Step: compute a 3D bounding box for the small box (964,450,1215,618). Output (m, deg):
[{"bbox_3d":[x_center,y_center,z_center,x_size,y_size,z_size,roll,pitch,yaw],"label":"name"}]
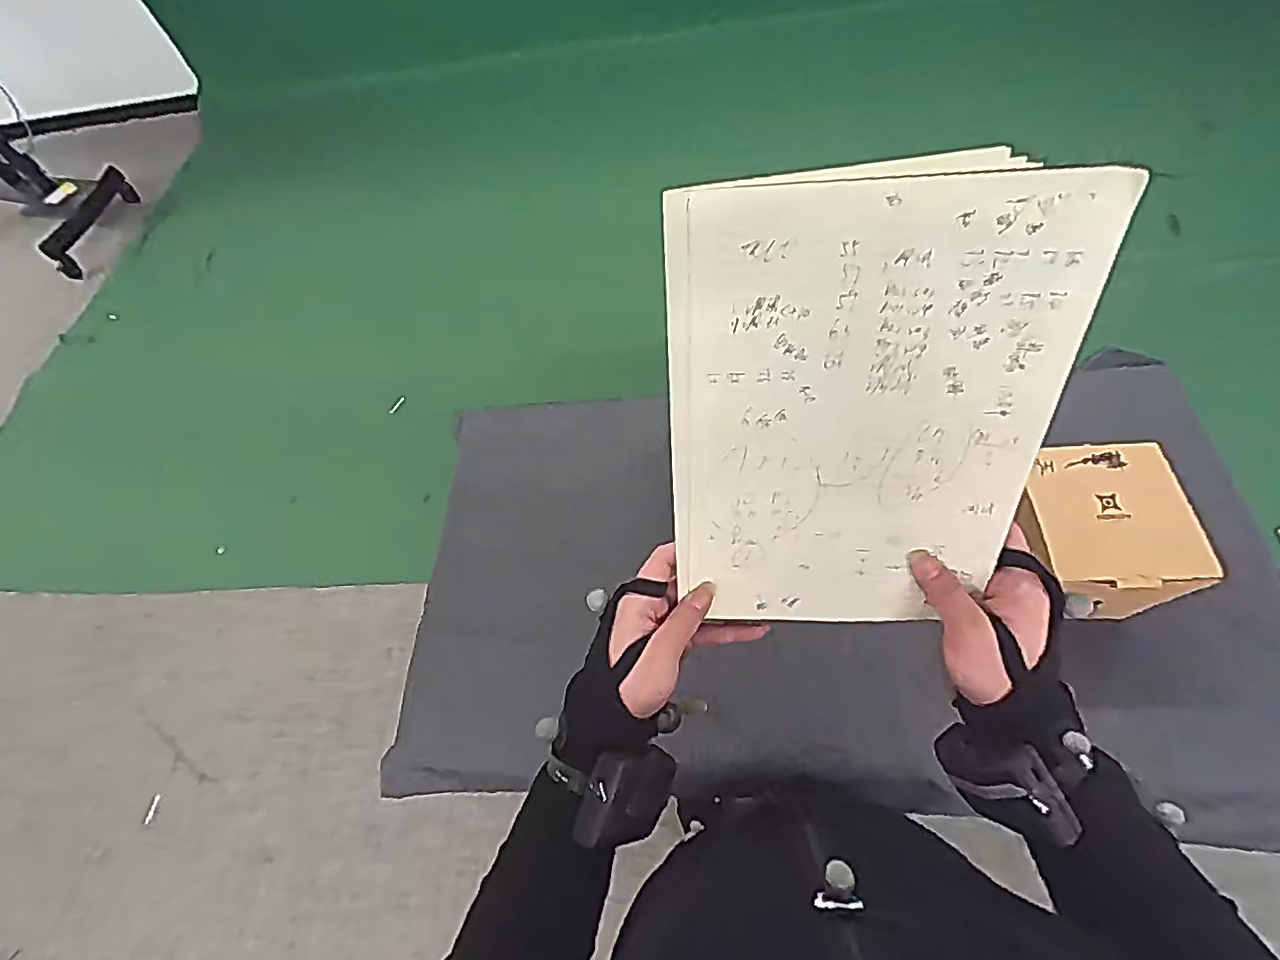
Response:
[{"bbox_3d":[0.555,0.078,0.701,0.168,0.176,0.179,-2,63,7],"label":"small box"}]
